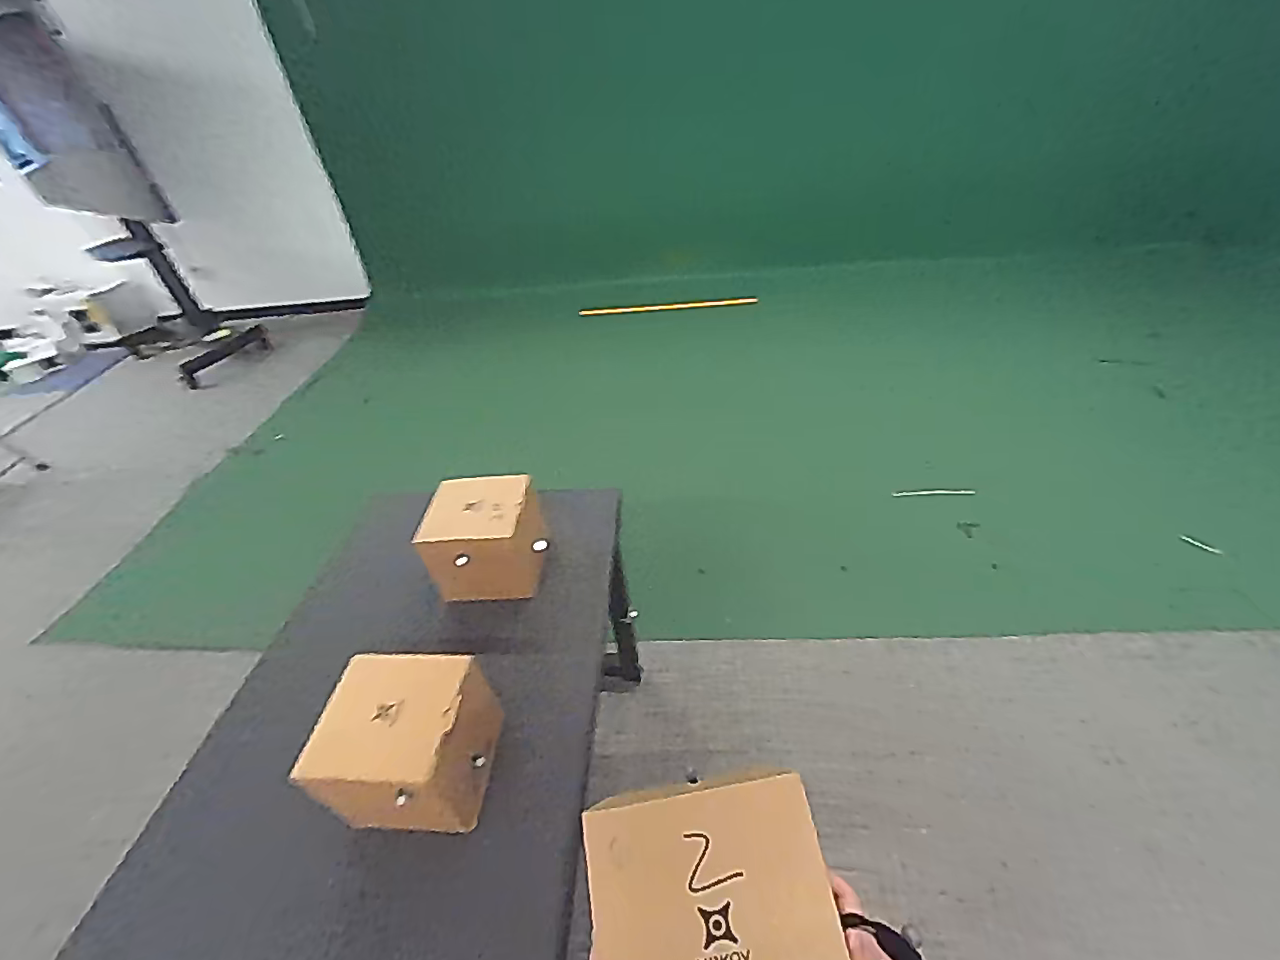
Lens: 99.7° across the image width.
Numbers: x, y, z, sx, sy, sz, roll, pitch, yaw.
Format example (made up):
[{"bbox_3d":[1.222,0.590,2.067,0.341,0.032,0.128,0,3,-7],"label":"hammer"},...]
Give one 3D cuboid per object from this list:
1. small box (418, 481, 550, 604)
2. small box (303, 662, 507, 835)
[{"bbox_3d":[-0.286,0.124,1.034,0.179,0.176,0.168,-4,41,6],"label":"small box"},{"bbox_3d":[-0.307,0.372,0.750,0.179,0.176,0.168,-3,40,7],"label":"small box"}]
